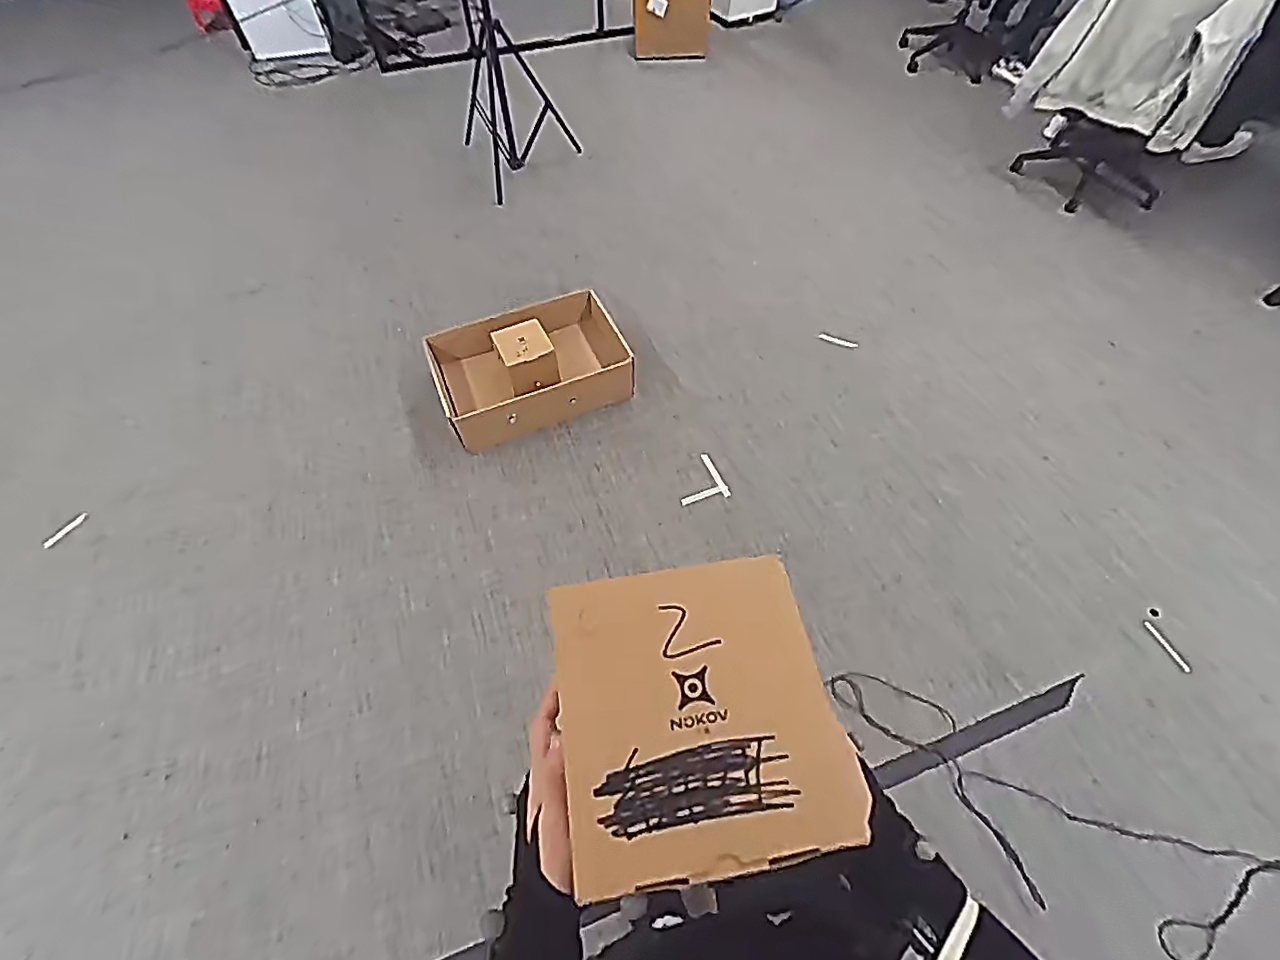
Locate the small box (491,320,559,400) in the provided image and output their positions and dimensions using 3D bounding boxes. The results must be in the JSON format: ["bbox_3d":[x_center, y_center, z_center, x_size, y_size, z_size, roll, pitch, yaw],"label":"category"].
[{"bbox_3d":[-0.385,-0.405,1.829,0.168,0.176,0.179,-23,60,-14],"label":"small box"}]
